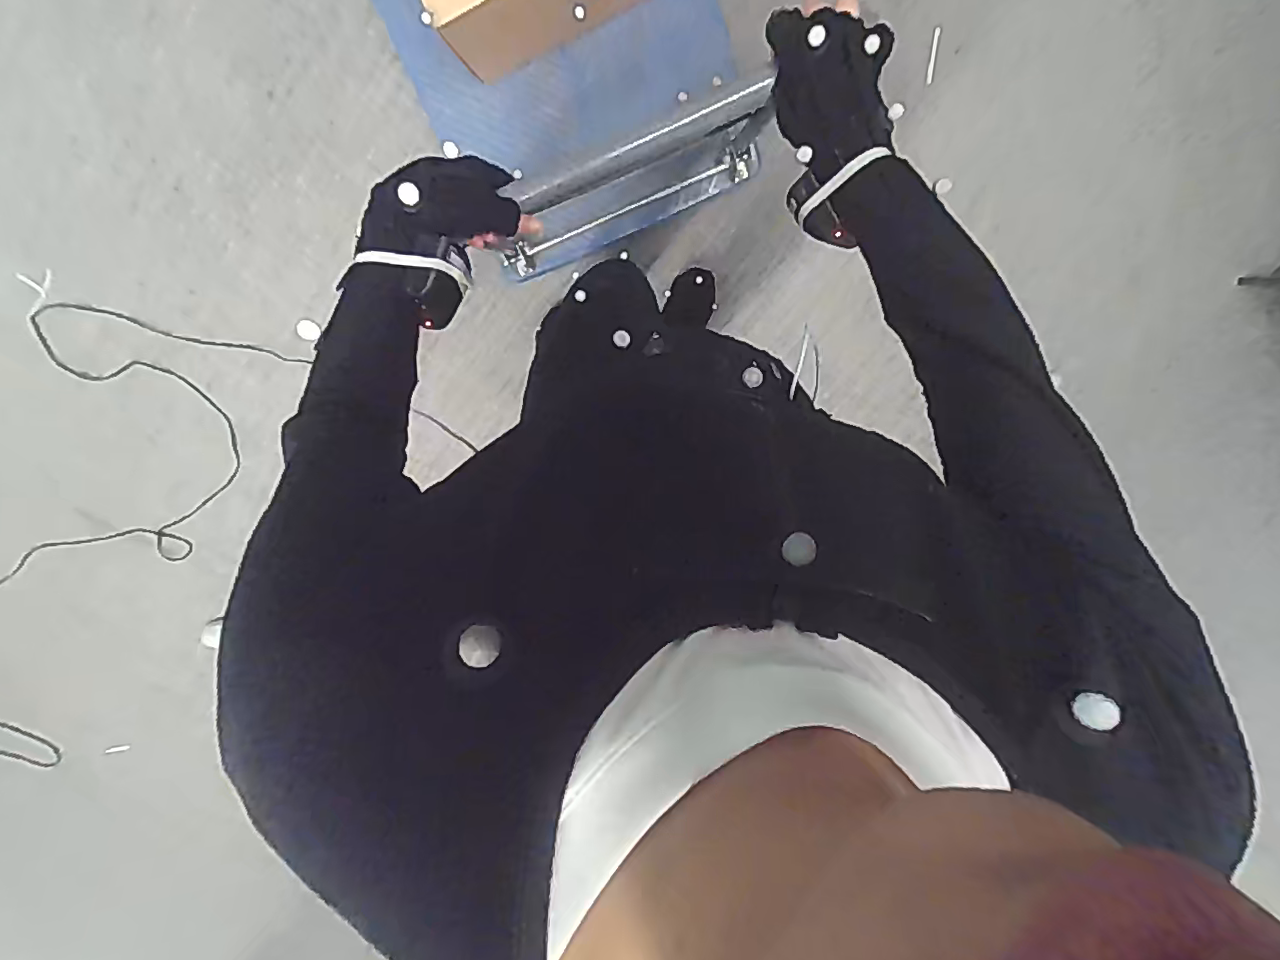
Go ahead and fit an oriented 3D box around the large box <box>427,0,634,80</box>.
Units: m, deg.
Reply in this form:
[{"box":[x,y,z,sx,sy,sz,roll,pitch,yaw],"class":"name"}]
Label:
[{"box":[-0.162,-0.891,0.801,0.408,0.320,0.320,-23,112,8],"class":"large box"}]
